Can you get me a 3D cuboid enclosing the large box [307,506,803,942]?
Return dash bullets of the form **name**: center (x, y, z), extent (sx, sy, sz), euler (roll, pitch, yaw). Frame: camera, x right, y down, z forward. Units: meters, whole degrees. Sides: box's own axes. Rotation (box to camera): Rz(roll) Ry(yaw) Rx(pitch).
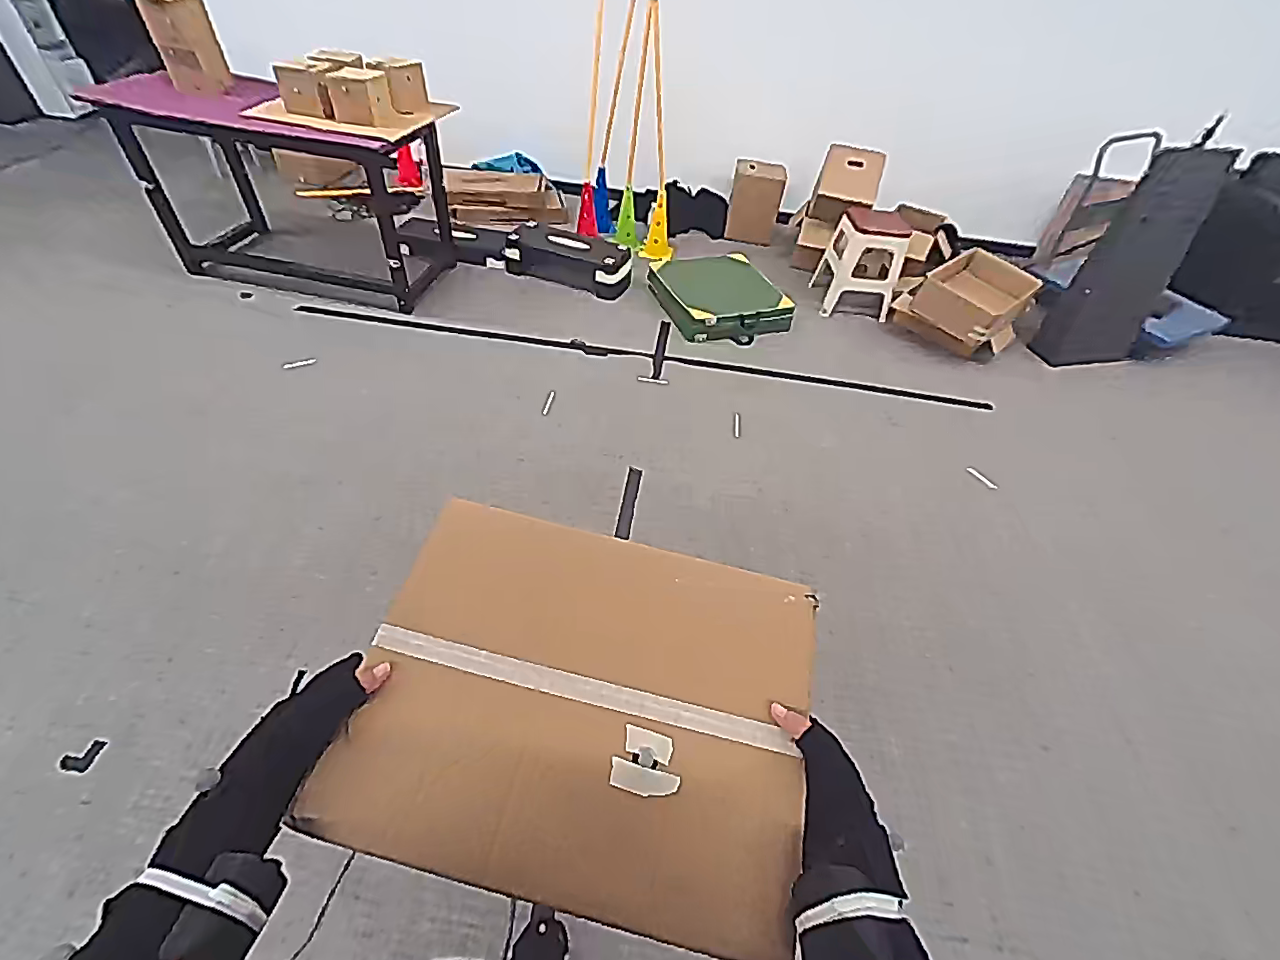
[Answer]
- **large box**: center (-0.064, 0.275, 0.635), extent (0.408, 0.320, 0.320), euler (14, 57, 3)
